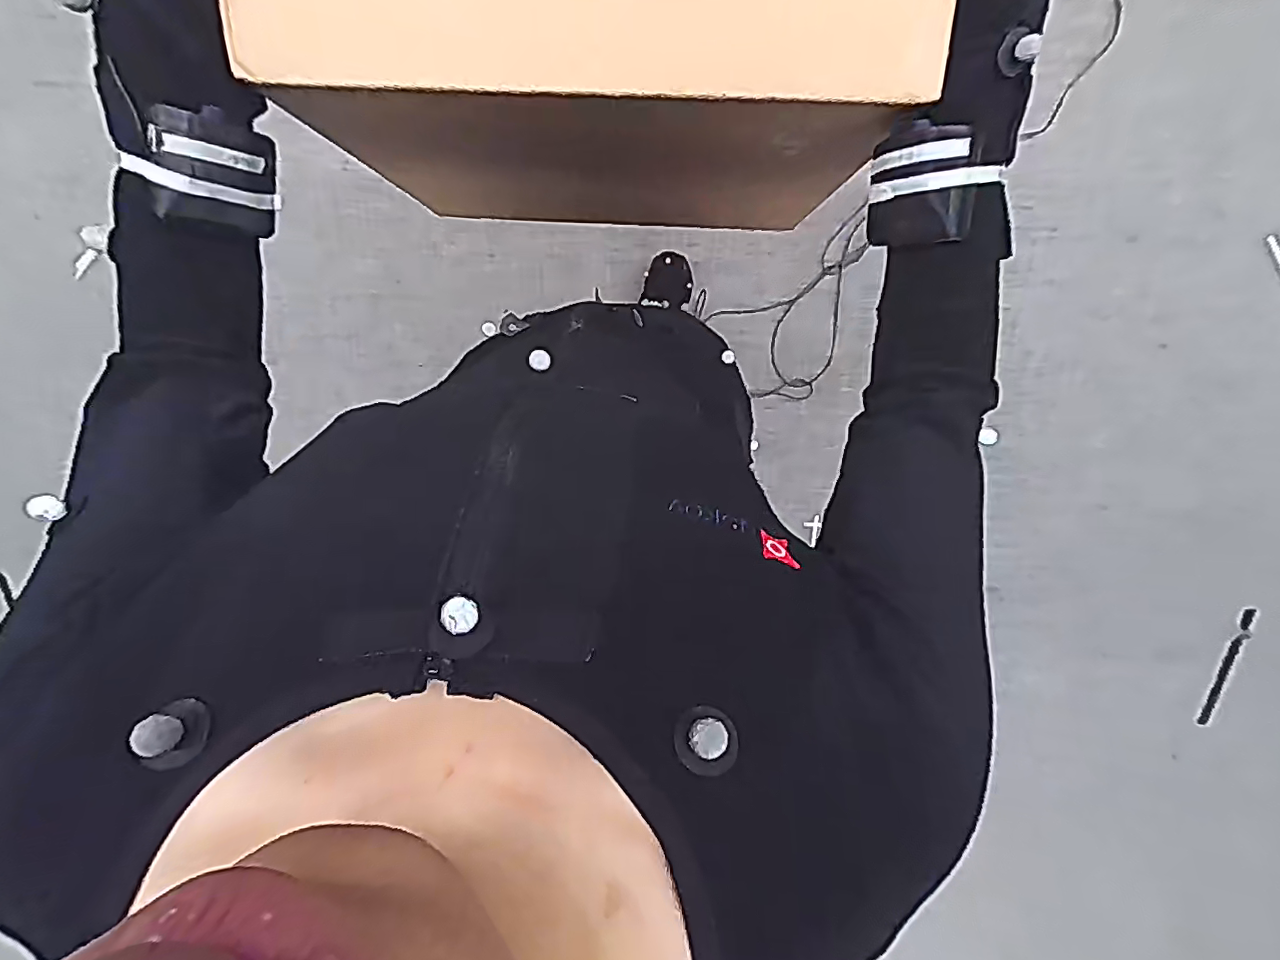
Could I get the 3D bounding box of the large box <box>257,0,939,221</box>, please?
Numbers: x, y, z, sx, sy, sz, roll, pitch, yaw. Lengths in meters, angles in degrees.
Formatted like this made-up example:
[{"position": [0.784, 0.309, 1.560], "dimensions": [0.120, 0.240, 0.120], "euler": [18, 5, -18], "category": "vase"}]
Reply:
[{"position": [-0.023, -0.415, 0.438], "dimensions": [0.408, 0.320, 0.320], "euler": [2, 102, 0], "category": "large box"}]
